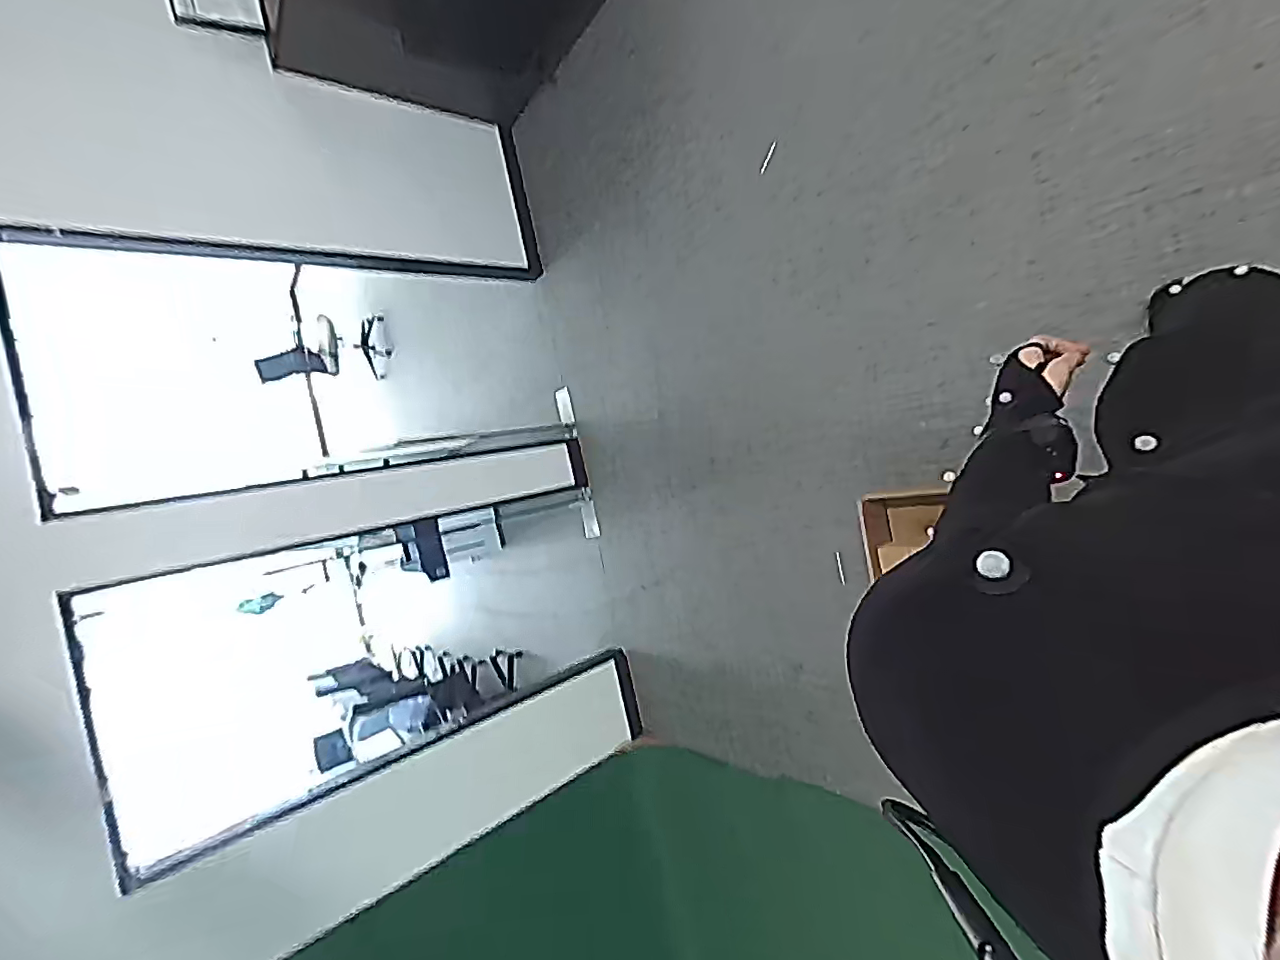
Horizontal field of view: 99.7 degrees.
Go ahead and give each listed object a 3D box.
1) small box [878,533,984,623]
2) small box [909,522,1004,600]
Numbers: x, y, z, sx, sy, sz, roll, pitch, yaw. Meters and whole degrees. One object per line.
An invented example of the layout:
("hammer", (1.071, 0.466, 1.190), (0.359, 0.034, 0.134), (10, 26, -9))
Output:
("small box", (0.721, 0.236, 1.334), (0.168, 0.176, 0.179), (-12, 90, 50))
("small box", (0.846, 0.208, 1.439), (0.179, 0.176, 0.168), (-6, 95, 51))
